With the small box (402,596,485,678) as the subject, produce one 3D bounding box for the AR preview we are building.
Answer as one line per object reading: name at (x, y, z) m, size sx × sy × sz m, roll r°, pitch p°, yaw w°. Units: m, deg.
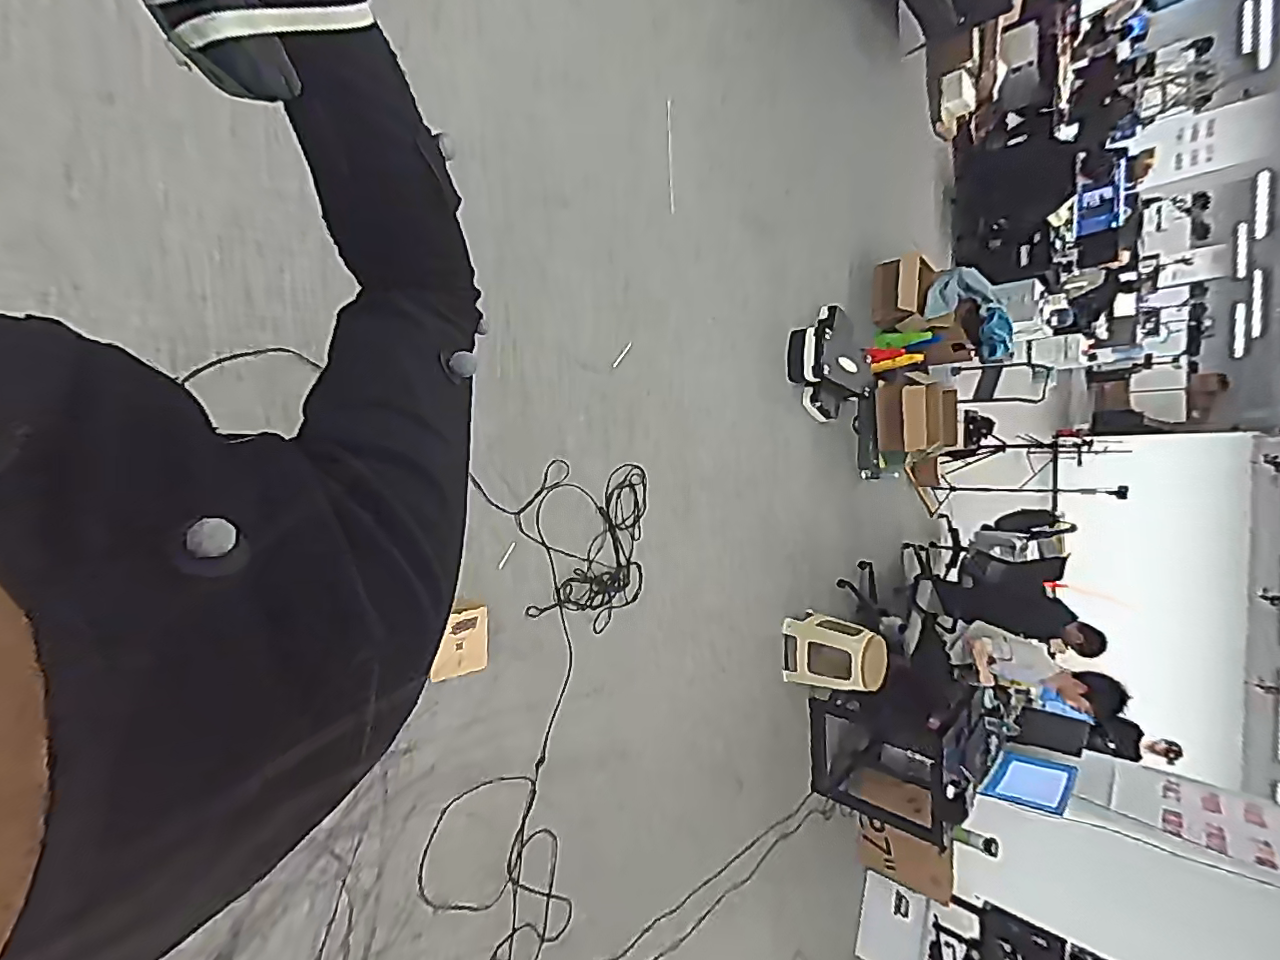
small box at (-0.550, 0.427, 1.509) m, size 0.168 × 0.176 × 0.179 m, roll 0°, pitch 92°, yaw -46°
